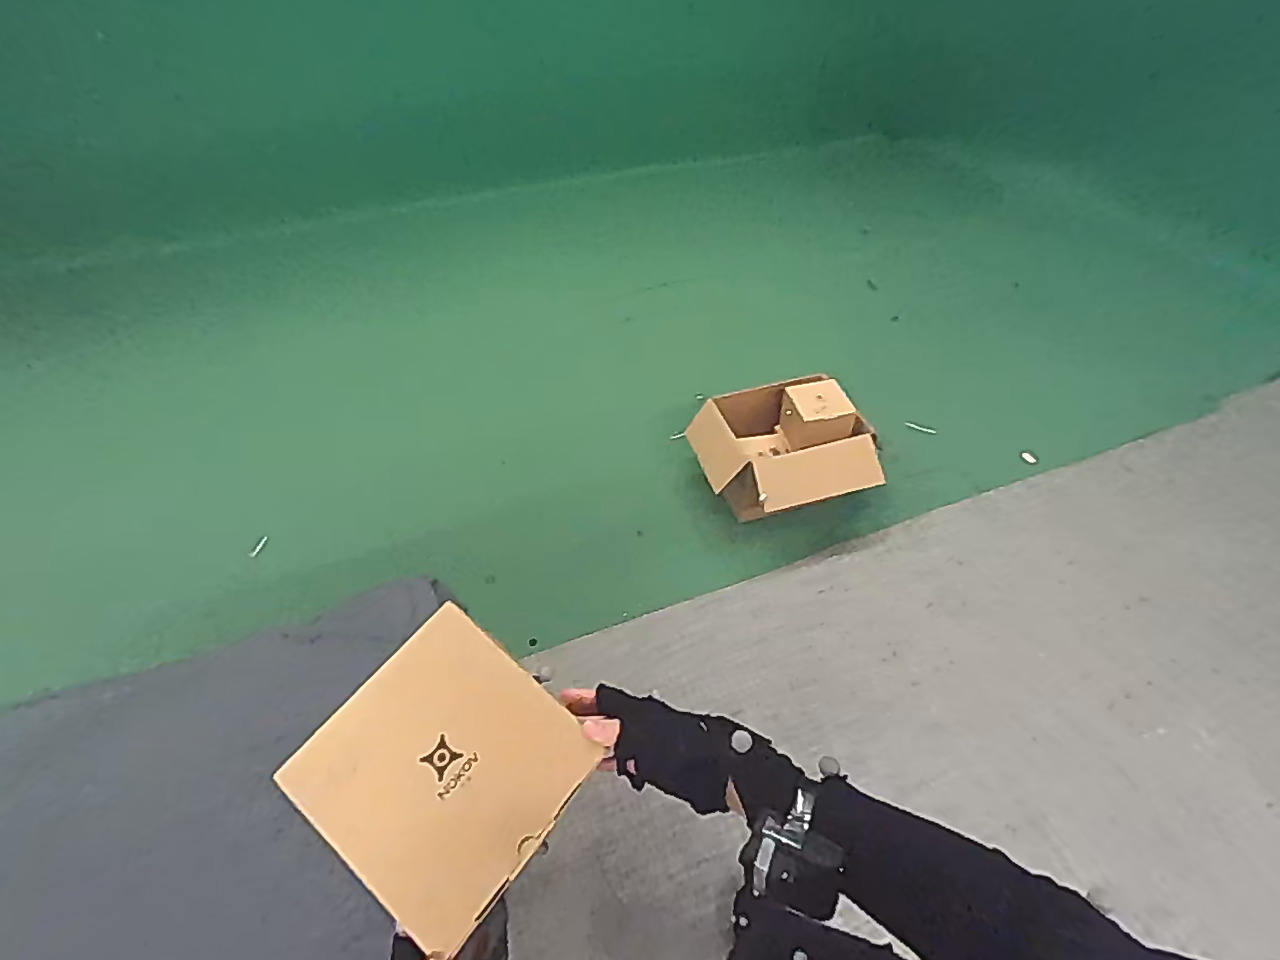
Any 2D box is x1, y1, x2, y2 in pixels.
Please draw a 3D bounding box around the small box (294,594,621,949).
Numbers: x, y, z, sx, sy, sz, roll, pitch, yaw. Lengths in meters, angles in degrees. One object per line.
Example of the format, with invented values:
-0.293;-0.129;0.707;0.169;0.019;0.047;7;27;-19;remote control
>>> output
-0.139;0.232;0.466;0.179;0.176;0.168;39;67;11;small box
